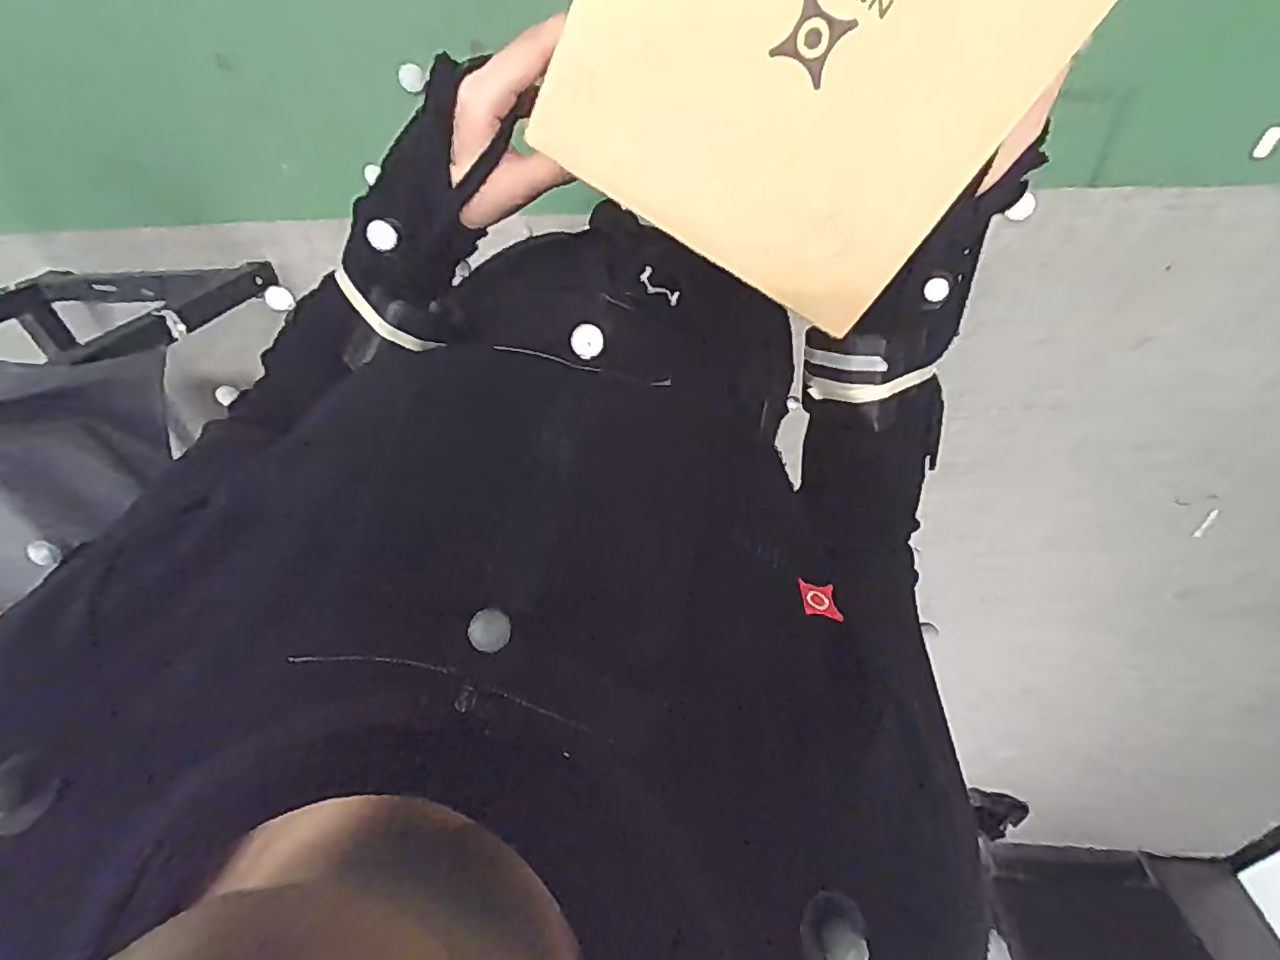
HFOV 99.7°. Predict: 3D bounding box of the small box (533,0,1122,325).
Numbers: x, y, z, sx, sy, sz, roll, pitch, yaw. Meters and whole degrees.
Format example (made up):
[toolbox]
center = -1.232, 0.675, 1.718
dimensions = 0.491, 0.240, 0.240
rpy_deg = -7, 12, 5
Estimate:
[small box]
center = 0.075, -0.210, 0.251
dimensions = 0.168, 0.176, 0.179
rpy_deg = 26, 123, -12
